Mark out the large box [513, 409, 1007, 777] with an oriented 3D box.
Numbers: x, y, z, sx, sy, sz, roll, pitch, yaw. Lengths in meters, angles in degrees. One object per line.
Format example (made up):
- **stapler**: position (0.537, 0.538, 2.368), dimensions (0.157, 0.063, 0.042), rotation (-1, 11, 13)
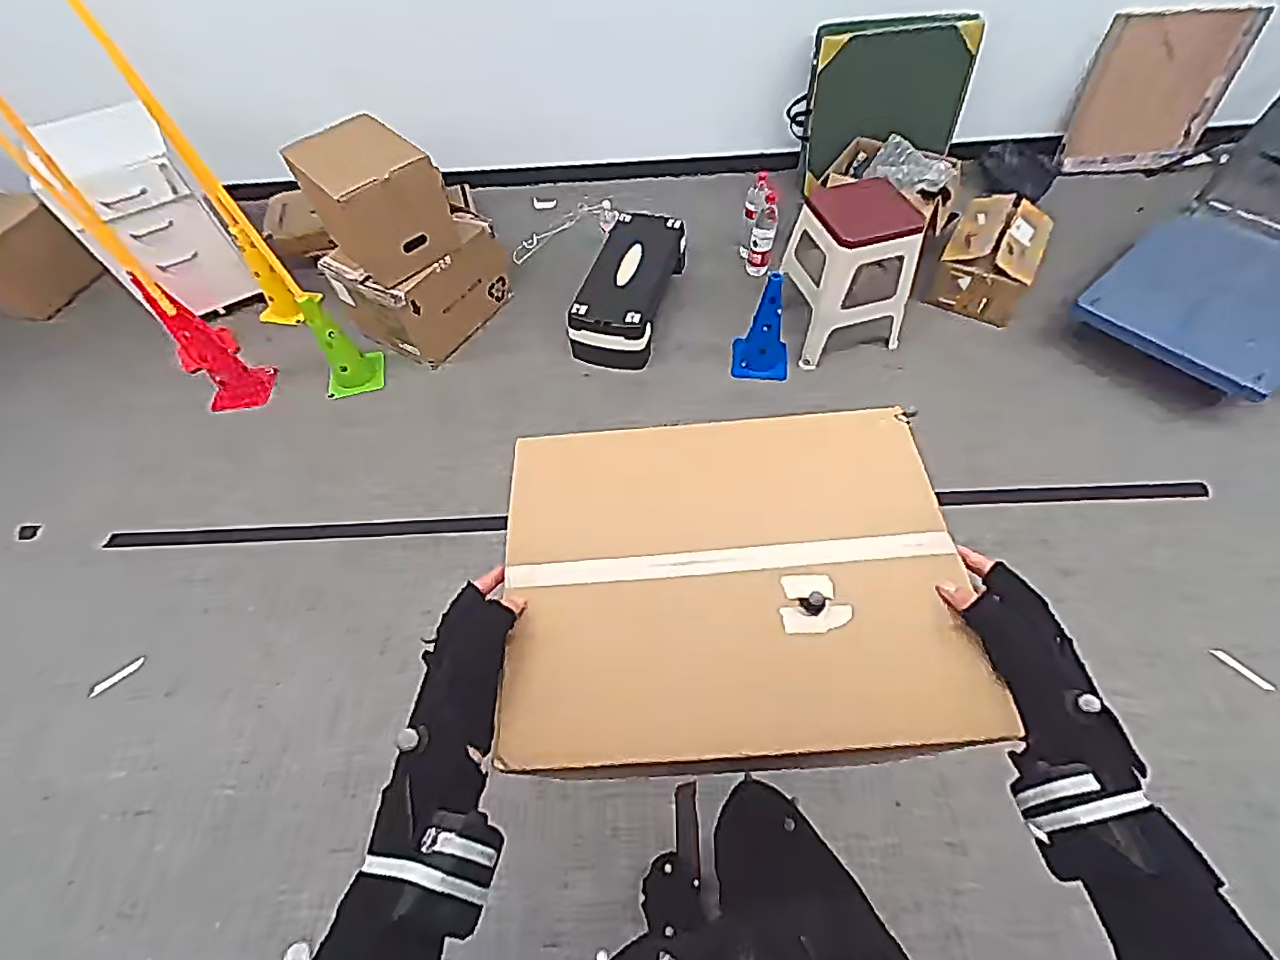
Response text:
- **large box**: position (0.090, 0.148, 0.630), dimensions (0.408, 0.320, 0.320), rotation (-5, 60, 1)
